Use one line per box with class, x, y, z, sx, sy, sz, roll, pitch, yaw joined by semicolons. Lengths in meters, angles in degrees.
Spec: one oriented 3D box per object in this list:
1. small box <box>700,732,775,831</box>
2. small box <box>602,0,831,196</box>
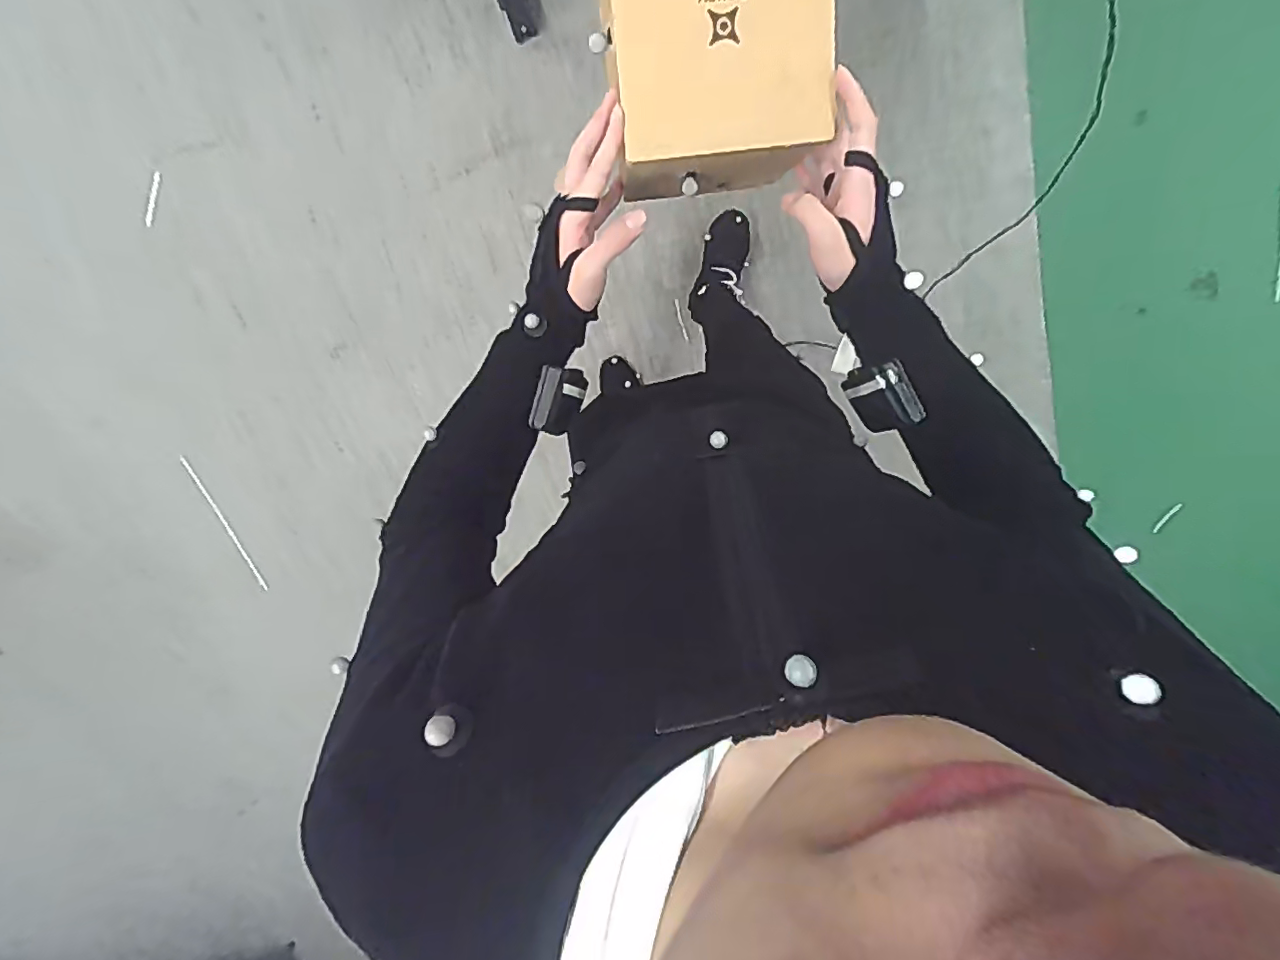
small box;0.269;0.840;1.527;0.168;0.176;0.179;-11;107;2
small box;0.057;-0.362;0.475;0.168;0.176;0.179;-7;107;-1
